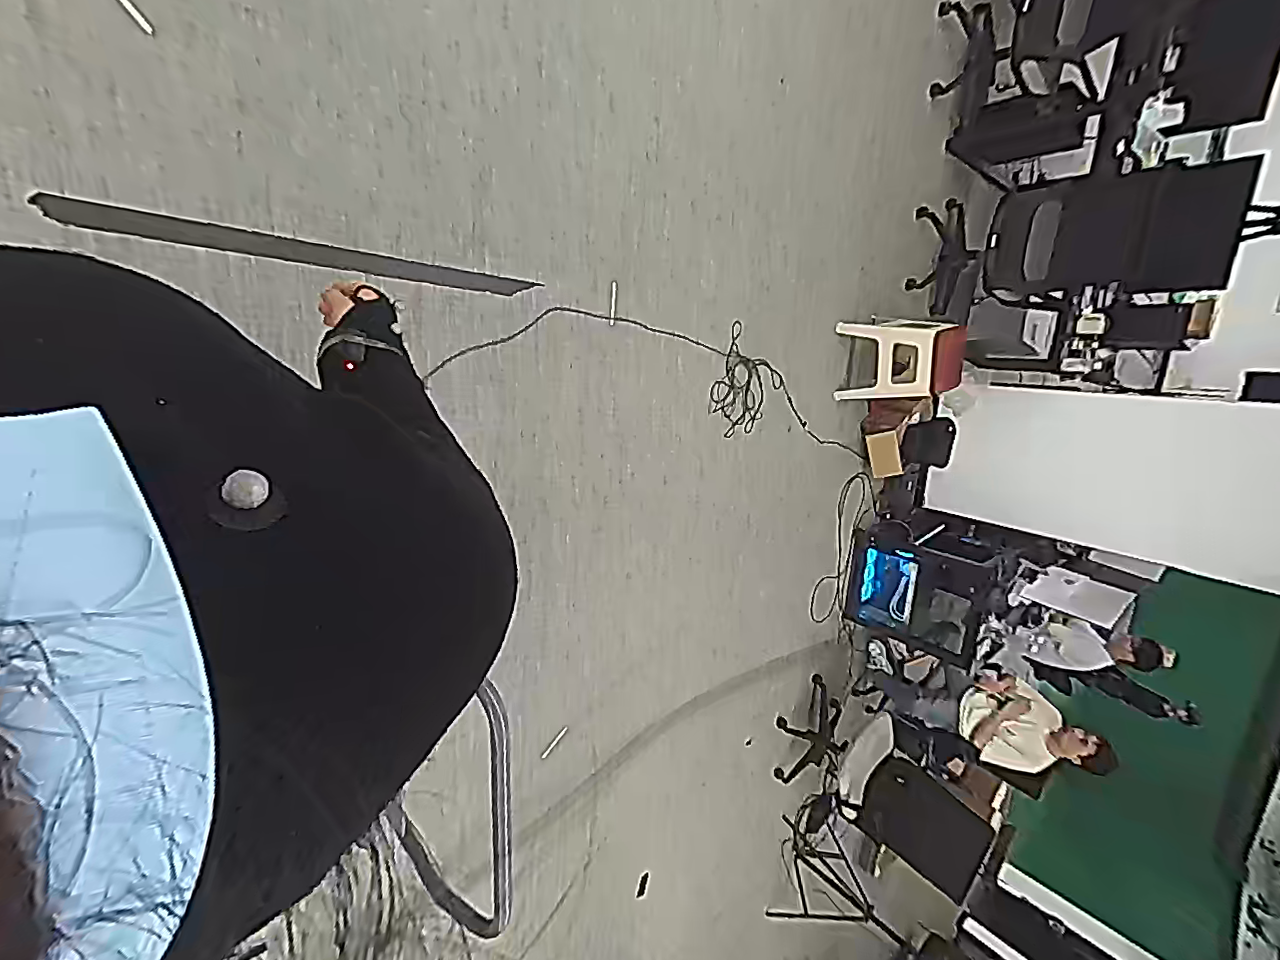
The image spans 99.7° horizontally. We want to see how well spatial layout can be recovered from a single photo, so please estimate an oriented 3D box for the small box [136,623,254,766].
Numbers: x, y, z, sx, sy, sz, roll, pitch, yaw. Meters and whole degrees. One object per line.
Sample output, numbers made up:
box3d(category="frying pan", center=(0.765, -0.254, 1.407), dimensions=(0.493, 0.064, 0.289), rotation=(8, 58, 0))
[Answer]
box3d(category="small box", center=(-0.857, 0.402, 1.047), dimensions=(0.168, 0.176, 0.179), rotation=(-4, 103, -41))
